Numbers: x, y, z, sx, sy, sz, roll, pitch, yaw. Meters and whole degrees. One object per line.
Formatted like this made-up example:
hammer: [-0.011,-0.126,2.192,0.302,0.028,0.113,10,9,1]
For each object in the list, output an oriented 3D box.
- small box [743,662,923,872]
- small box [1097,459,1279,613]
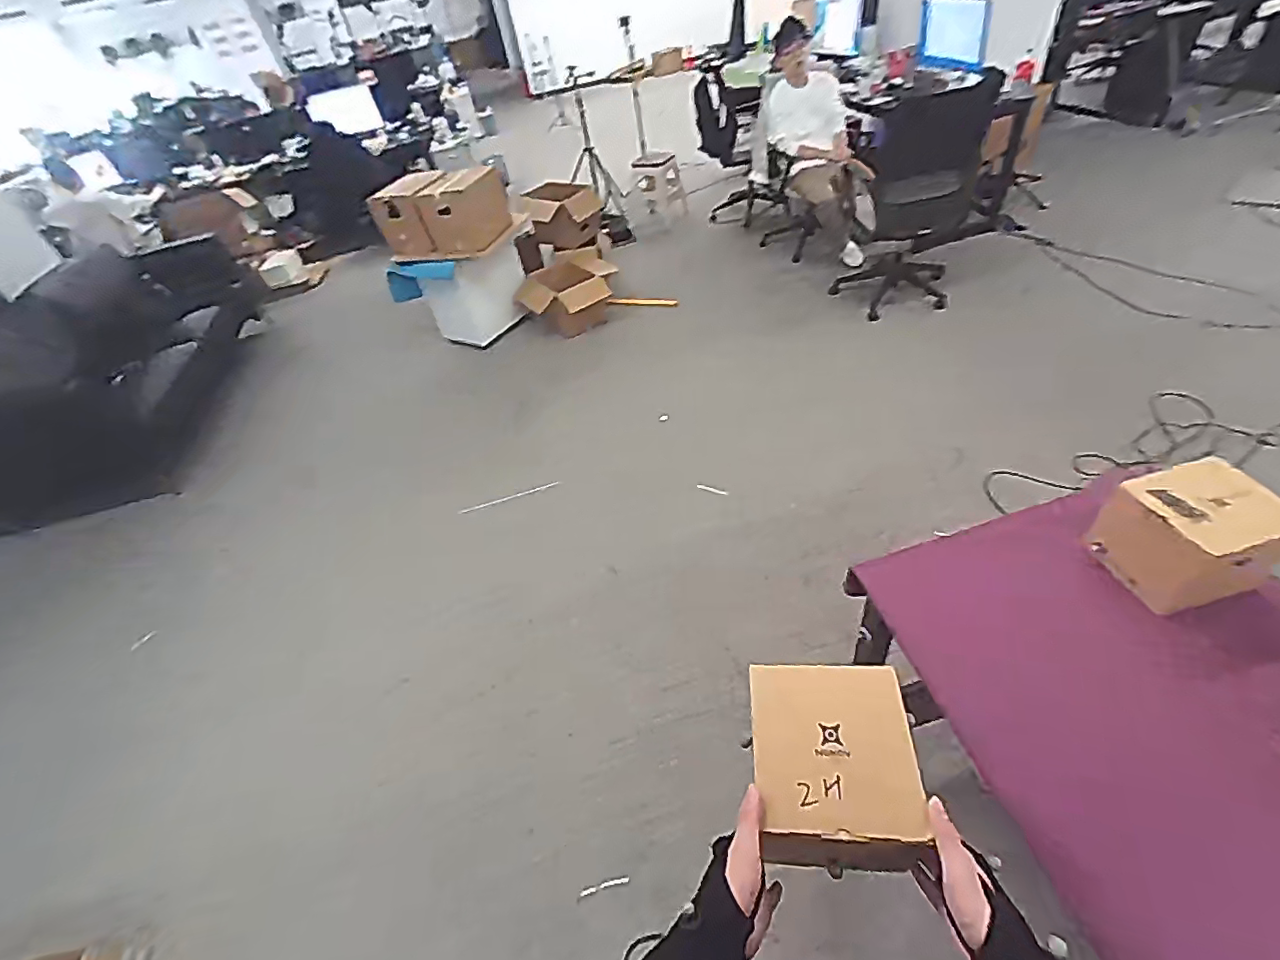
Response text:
small box: [0.208,0.333,0.635,0.168,0.176,0.179,-4,46,11]
small box: [0.916,0.097,0.899,0.179,0.176,0.168,-15,44,-1]
